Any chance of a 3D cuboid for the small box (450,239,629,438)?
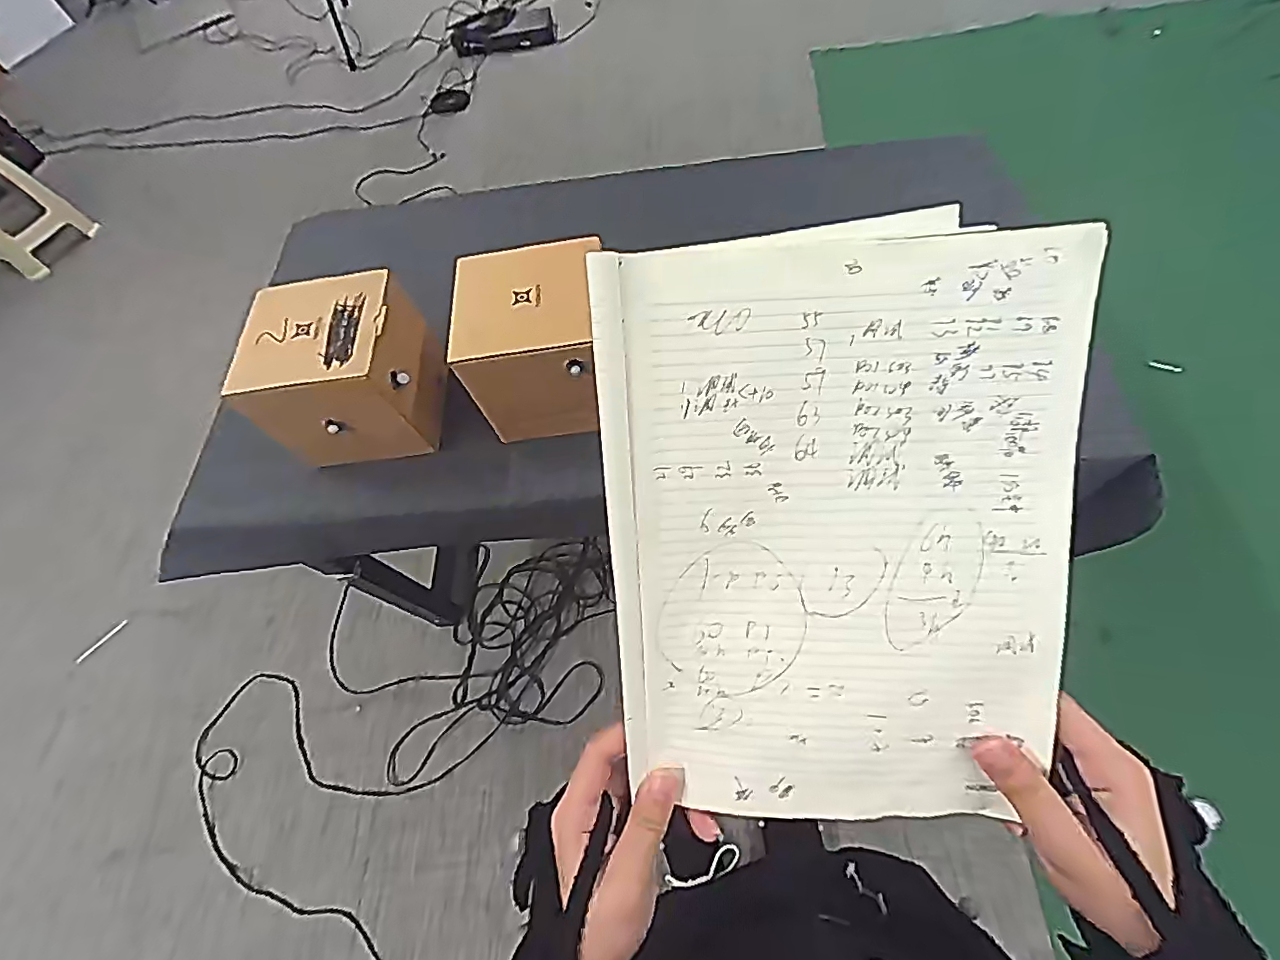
[{"bbox_3d":[-0.116,-0.168,0.684,0.179,0.176,0.168,-7,62,4],"label":"small box"}]
